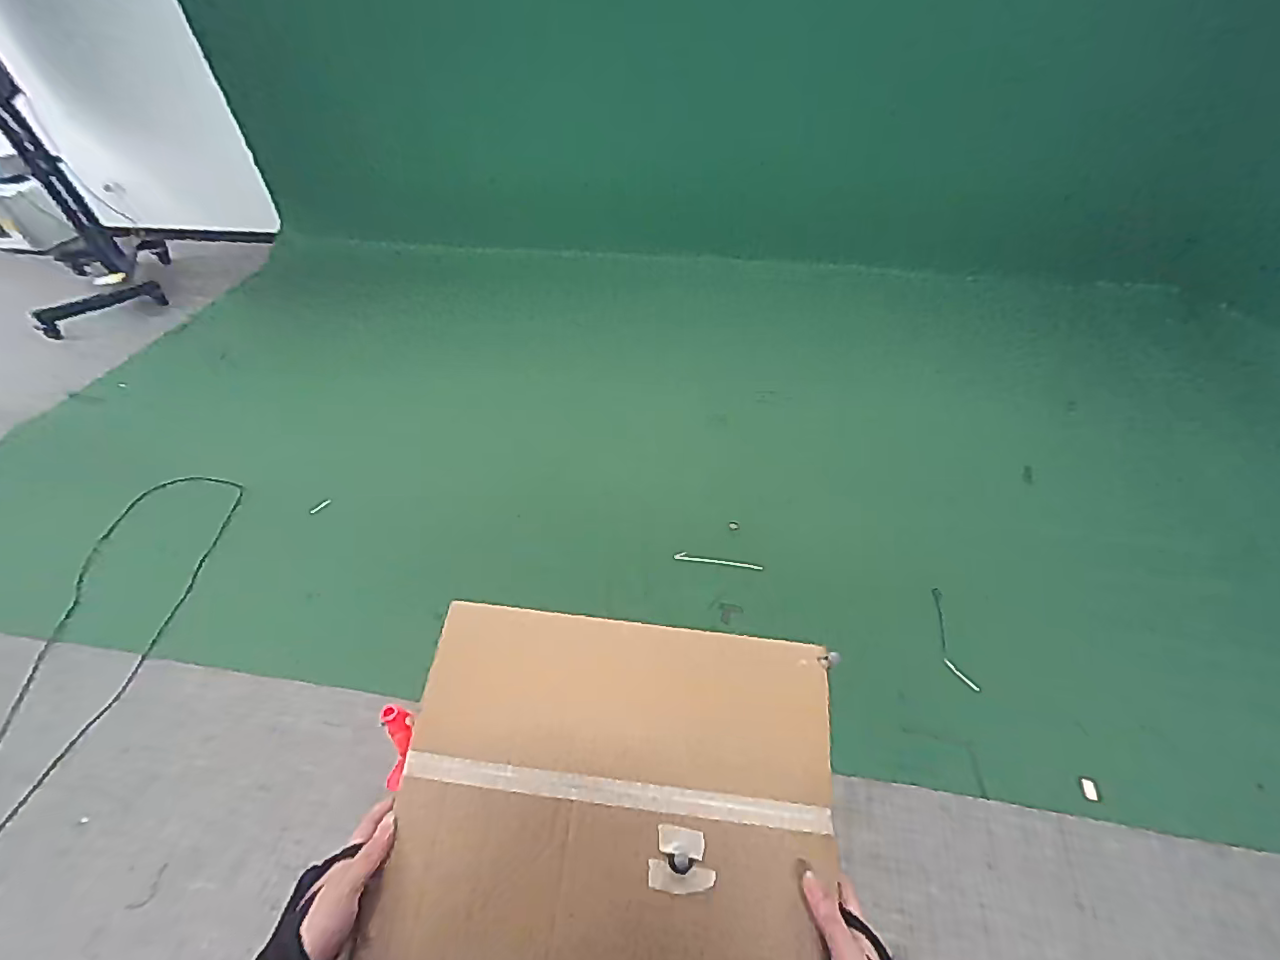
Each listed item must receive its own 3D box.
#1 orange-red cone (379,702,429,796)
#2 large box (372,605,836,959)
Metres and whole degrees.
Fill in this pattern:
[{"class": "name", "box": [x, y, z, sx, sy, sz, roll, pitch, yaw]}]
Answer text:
[{"class": "orange-red cone", "box": [-0.590, 0.664, 1.393, 0.199, 0.360, 0.198, 10, 47, 14]}, {"class": "large box", "box": [-0.021, 0.358, 0.651, 0.408, 0.320, 0.320, 6, 64, 3]}]
